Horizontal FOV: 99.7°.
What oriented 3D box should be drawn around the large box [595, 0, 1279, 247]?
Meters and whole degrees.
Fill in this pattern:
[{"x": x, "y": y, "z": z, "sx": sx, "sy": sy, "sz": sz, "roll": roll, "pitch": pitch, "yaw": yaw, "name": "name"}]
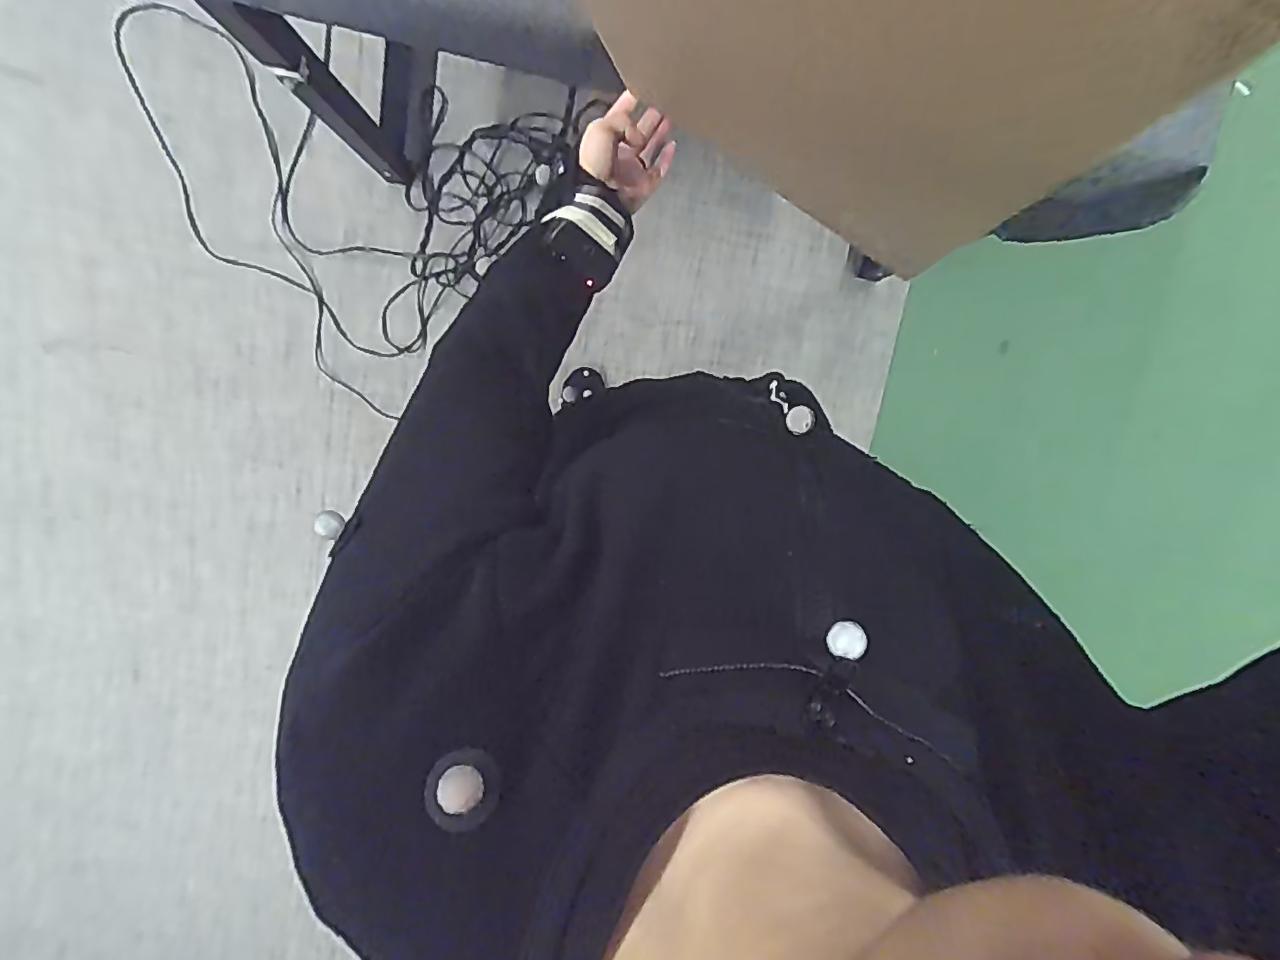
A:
[{"x": 0.147, "y": -0.361, "z": 0.256, "sx": 0.320, "sy": 0.408, "sz": 0.320, "roll": 36, "pitch": 109, "yaw": 3, "name": "large box"}]
